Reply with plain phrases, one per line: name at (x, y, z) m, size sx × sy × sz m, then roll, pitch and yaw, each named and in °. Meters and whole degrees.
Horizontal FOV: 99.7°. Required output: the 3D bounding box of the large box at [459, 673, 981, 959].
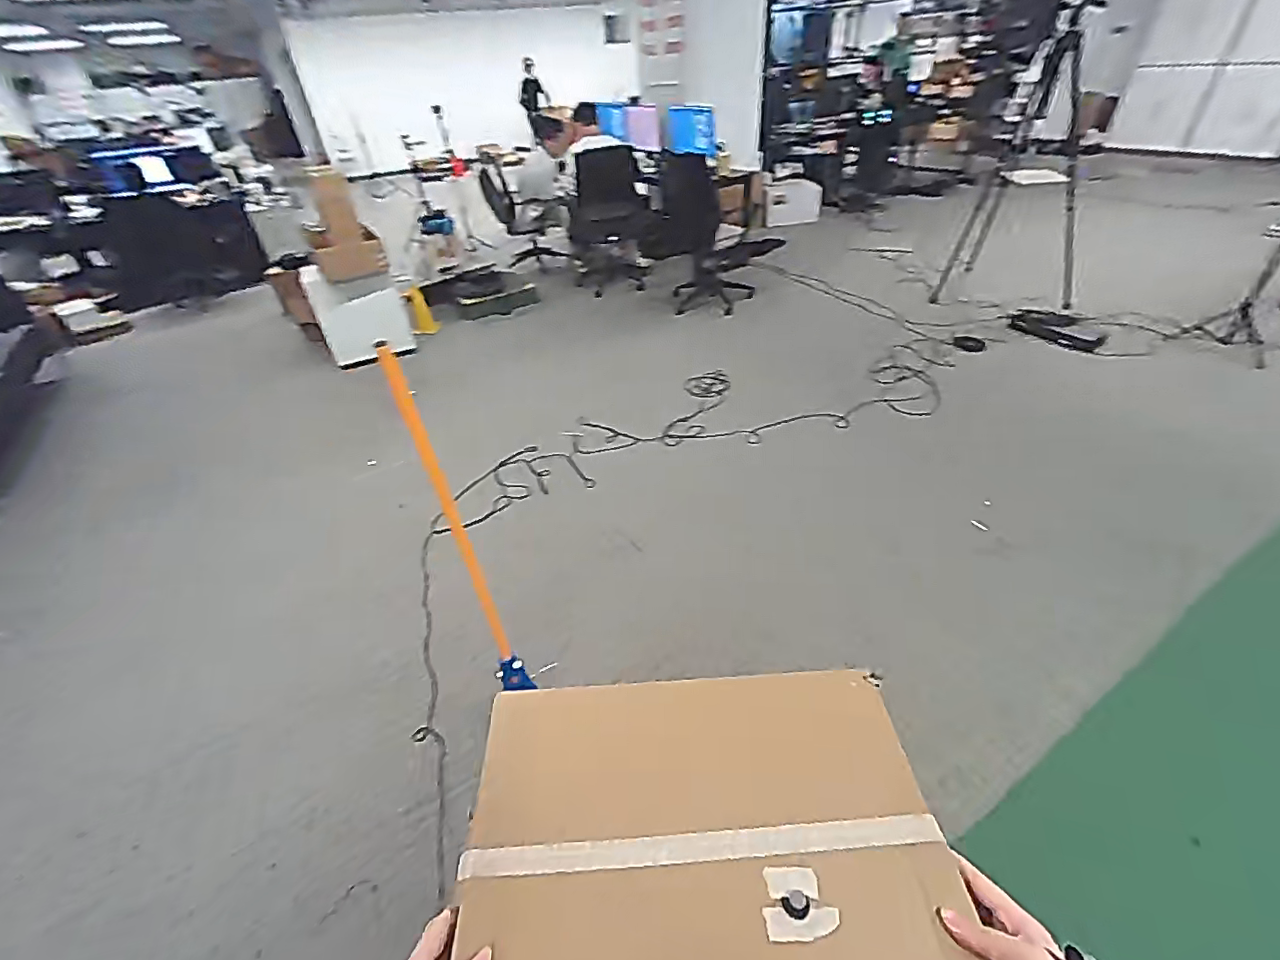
large box at (0.054, 0.436, 0.558) m, size 0.408 × 0.320 × 0.320 m, roll -3°, pitch 39°, yaw -2°
